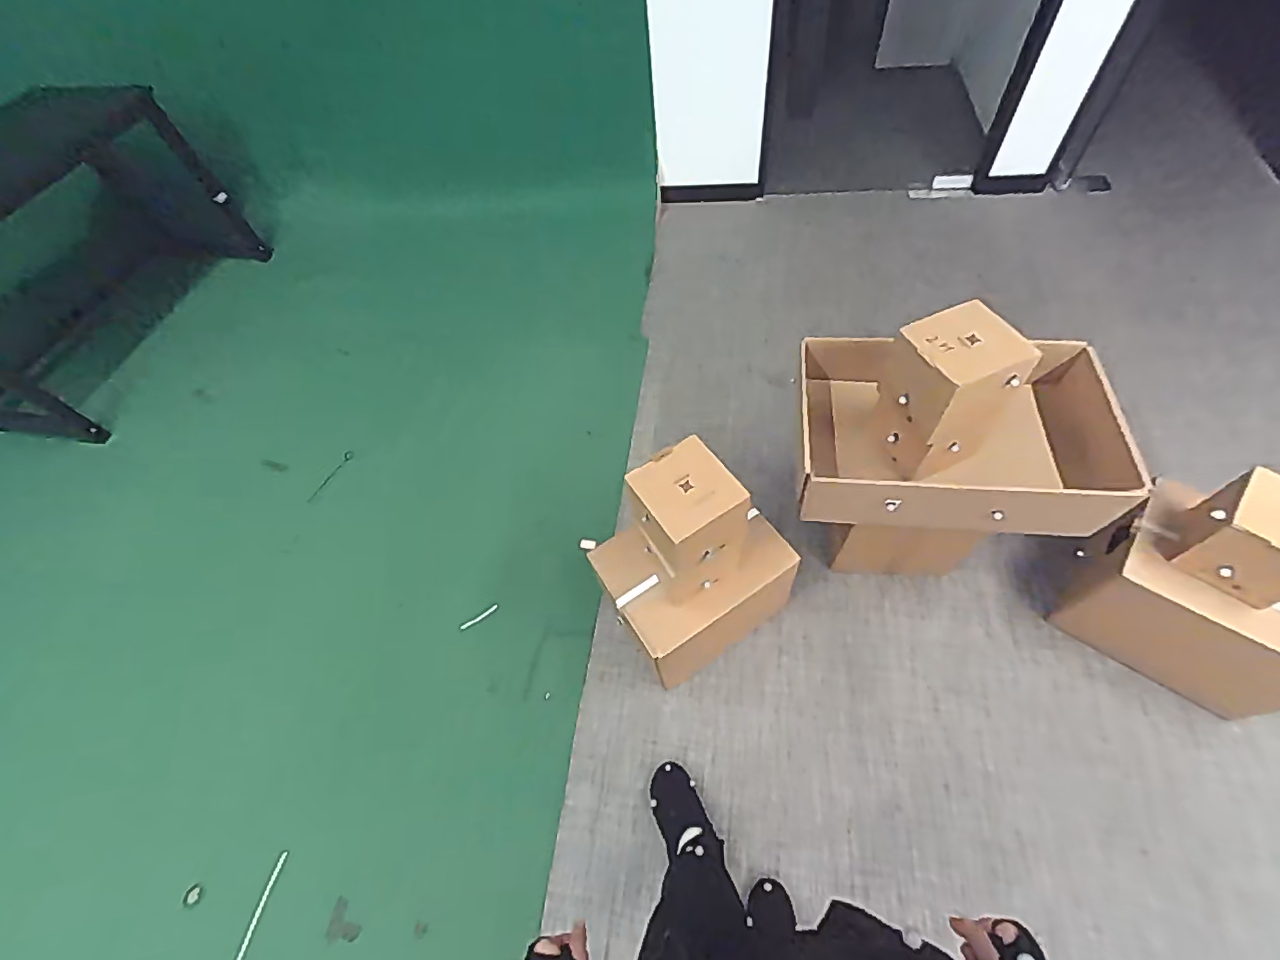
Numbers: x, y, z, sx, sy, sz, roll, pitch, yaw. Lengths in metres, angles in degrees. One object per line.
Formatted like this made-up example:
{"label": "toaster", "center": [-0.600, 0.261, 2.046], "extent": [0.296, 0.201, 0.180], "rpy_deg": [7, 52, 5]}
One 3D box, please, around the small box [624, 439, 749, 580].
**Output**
{"label": "small box", "center": [0.089, 0.061, 1.043], "extent": [0.168, 0.176, 0.179], "rpy_deg": [-31, 59, -12]}

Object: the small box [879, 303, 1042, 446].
{"label": "small box", "center": [0.588, -0.196, 1.021], "extent": [0.179, 0.176, 0.168], "rpy_deg": [-22, 56, -6]}

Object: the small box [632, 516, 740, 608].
{"label": "small box", "center": [0.099, 0.148, 1.180], "extent": [0.168, 0.176, 0.179], "rpy_deg": [-28, 58, -11]}

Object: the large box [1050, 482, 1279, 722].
{"label": "large box", "center": [1.276, 0.279, 1.244], "extent": [0.408, 0.320, 0.320], "rpy_deg": [32, 66, 23]}

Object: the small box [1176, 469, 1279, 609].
{"label": "small box", "center": [1.223, 0.119, 1.063], "extent": [0.168, 0.176, 0.179], "rpy_deg": [36, 67, 25]}
